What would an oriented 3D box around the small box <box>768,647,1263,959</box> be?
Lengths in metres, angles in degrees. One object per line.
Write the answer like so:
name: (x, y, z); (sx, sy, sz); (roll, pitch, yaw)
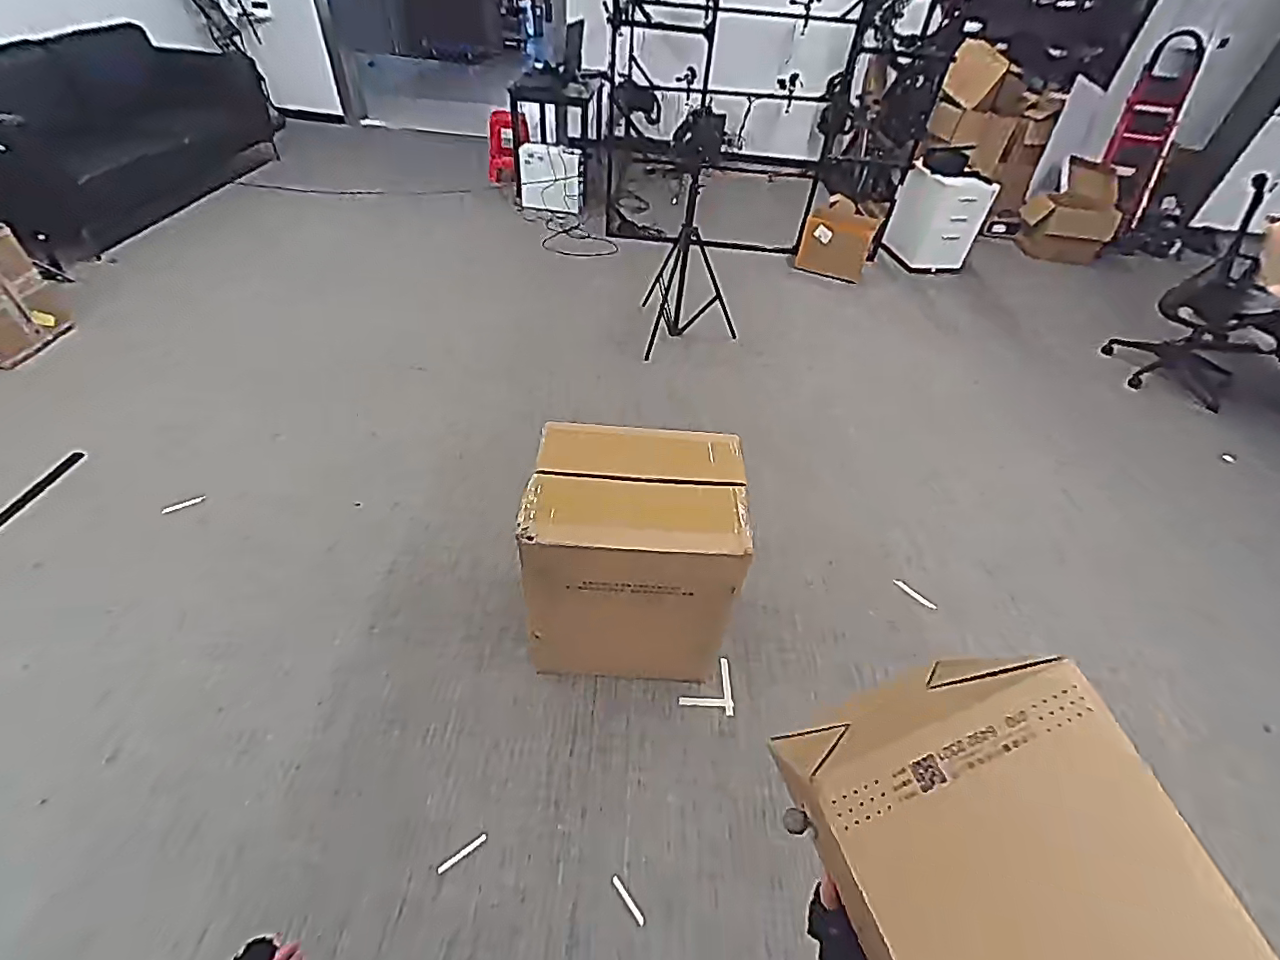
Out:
small box: (0.200, 0.221, 0.352); (0.168, 0.179, 0.176); (-25, 70, -3)
